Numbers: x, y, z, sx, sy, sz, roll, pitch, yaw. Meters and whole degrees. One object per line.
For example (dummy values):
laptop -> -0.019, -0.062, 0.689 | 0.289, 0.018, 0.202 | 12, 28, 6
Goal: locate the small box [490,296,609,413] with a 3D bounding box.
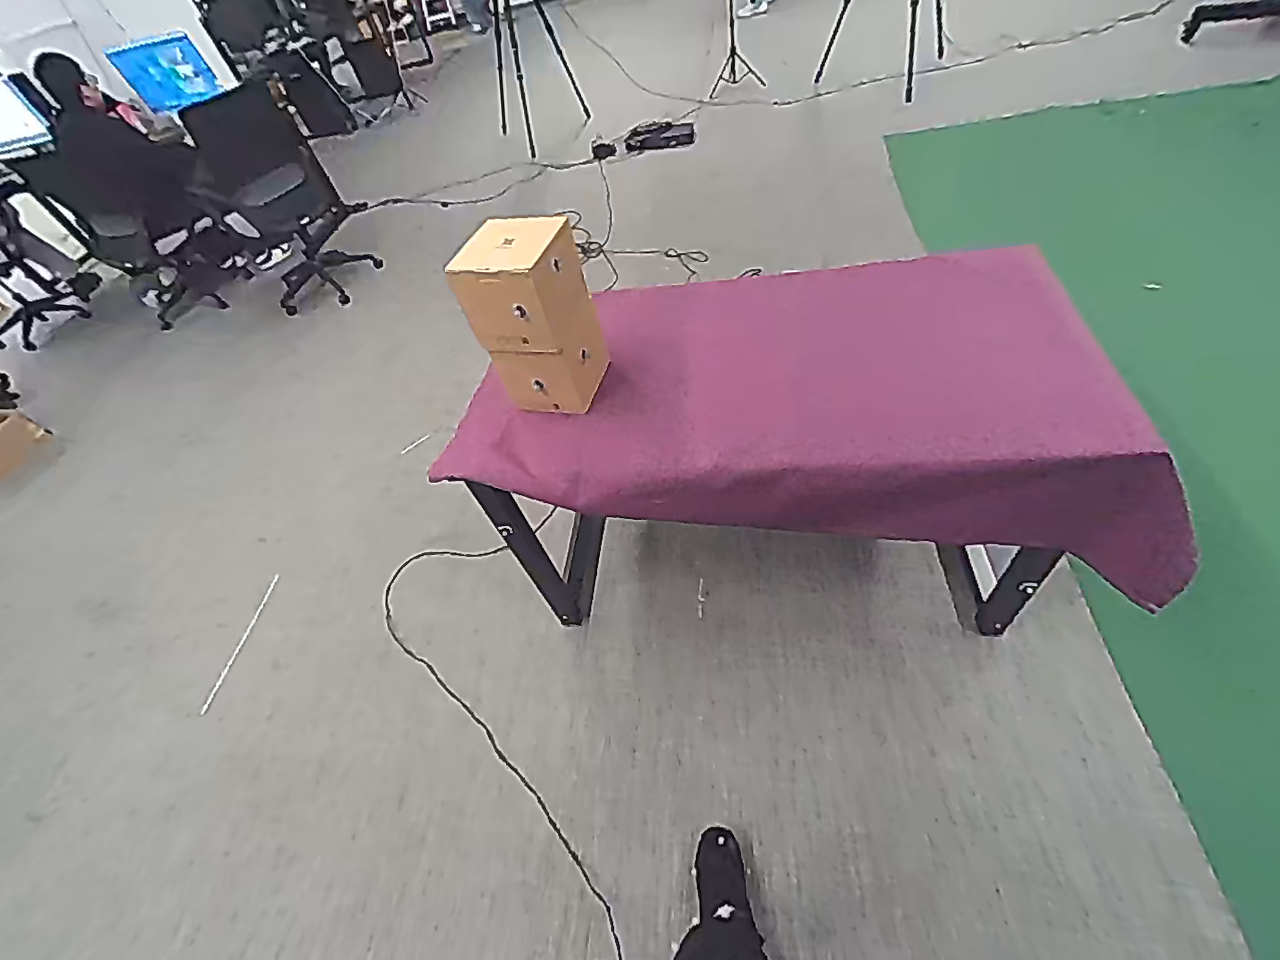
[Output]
small box -> -0.176, -0.257, 1.119 | 0.168, 0.176, 0.179 | 6, 53, 18

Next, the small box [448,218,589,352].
small box -> -0.209, -0.352, 0.990 | 0.168, 0.176, 0.179 | 7, 53, 18
